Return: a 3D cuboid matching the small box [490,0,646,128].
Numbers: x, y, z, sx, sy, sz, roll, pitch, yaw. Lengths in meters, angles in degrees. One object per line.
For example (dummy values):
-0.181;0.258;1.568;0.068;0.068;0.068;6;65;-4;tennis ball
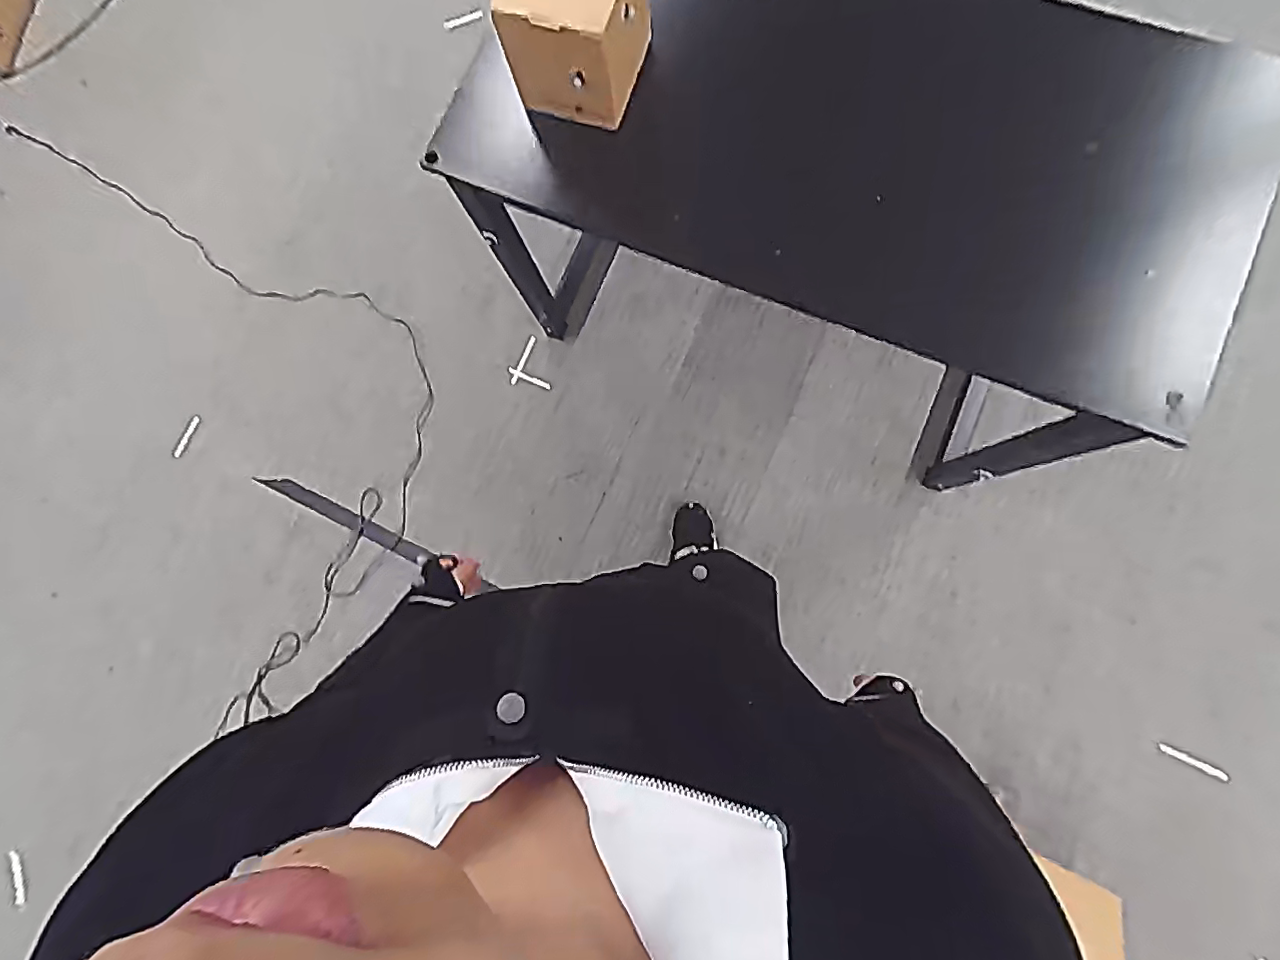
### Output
-0.093;-0.673;0.804;0.168;0.176;0.179;18;83;6;small box
